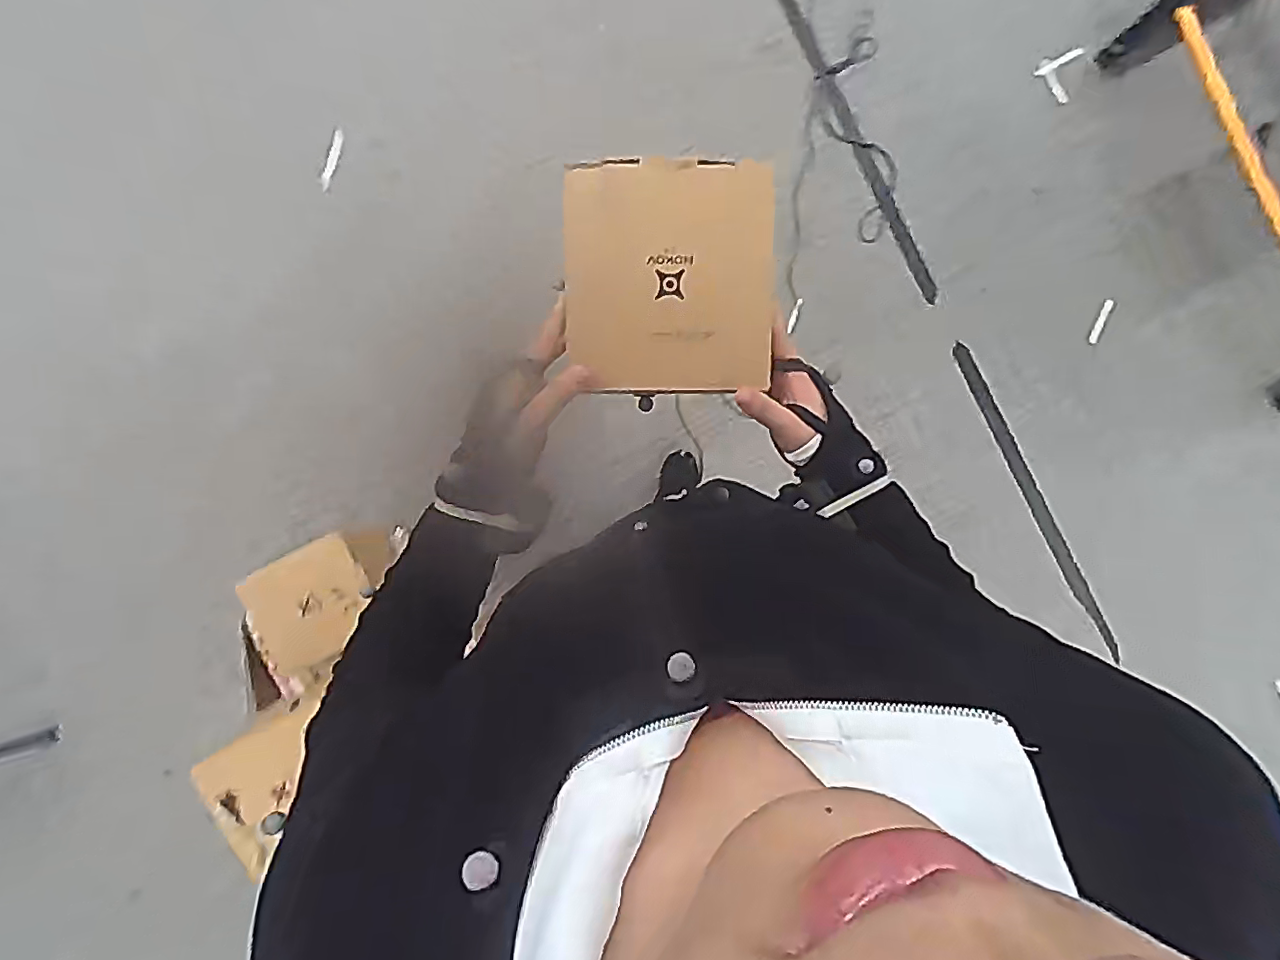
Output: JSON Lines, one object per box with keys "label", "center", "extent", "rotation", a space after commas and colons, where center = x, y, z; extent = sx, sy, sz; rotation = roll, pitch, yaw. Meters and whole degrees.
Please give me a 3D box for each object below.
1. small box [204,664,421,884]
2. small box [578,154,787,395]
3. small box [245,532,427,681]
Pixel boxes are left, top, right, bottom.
{"label": "small box", "center": [-0.426, 0.384, 0.745], "extent": [0.179, 0.176, 0.168], "rotation": [-29, 92, -6]}
{"label": "small box", "center": [0.029, -0.172, 0.505], "extent": [0.168, 0.176, 0.179], "rotation": [0, 98, -2]}
{"label": "small box", "center": [-0.495, 0.200, 0.908], "extent": [0.179, 0.176, 0.168], "rotation": [-29, 90, -4]}
